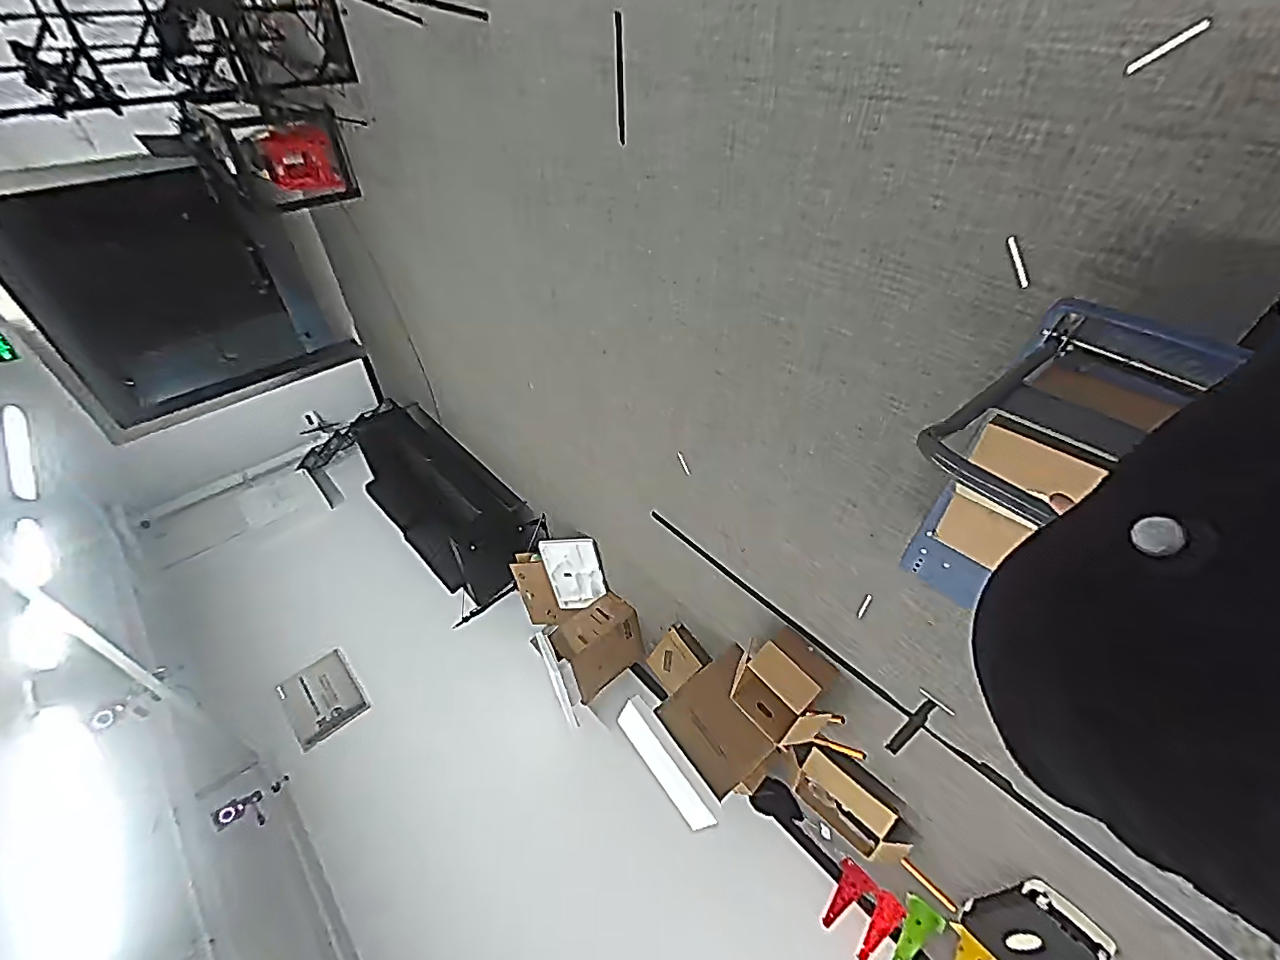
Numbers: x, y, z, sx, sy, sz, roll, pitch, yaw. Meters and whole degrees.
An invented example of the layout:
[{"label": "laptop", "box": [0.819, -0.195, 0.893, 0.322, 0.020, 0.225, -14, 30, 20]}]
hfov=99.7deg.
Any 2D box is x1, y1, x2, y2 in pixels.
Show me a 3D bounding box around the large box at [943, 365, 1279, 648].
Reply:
[{"label": "large box", "box": [0.899, 0.028, 1.040, 0.408, 0.320, 0.320, 36, 143, 36]}]
